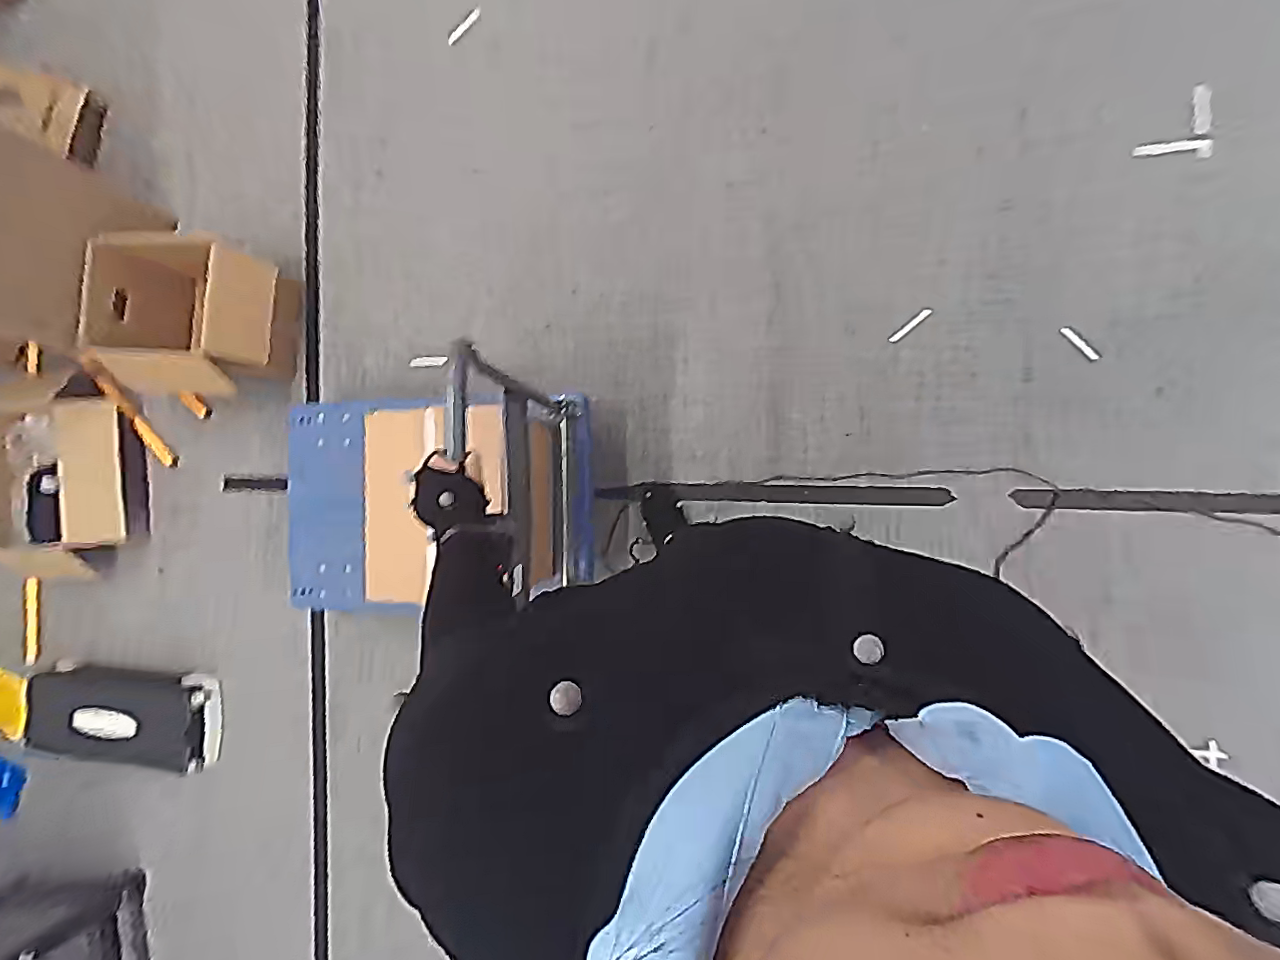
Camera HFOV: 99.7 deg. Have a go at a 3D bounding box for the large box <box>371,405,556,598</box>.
[{"bbox_3d":[-0.398,0.054,1.279,0.320,0.320,0.408,-1,88,10],"label":"large box"}]
